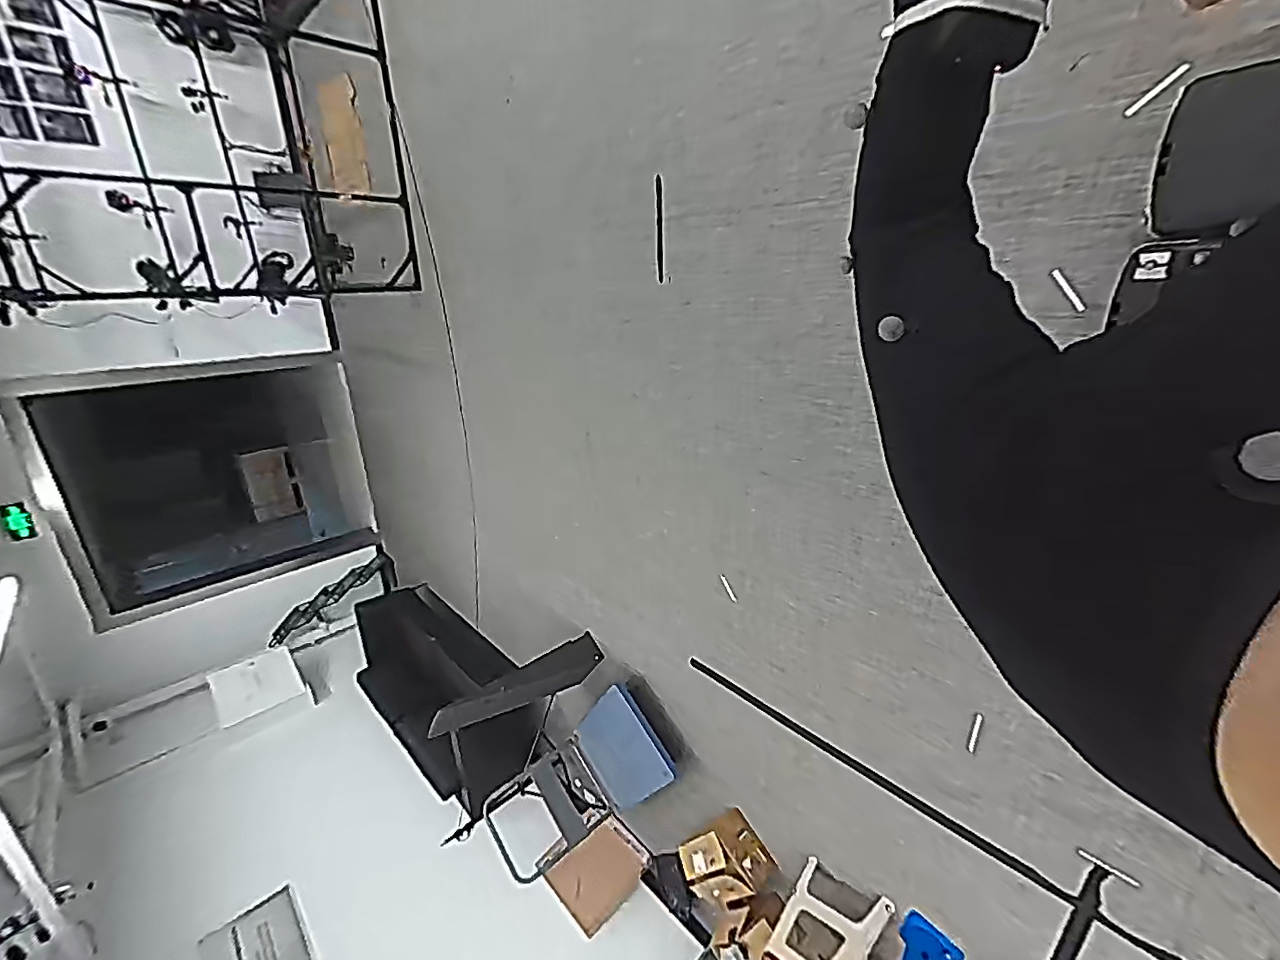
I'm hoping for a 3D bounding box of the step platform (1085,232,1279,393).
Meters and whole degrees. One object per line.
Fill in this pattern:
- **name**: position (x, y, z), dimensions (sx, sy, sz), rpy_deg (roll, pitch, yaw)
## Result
- **step platform**: position (1.248, -0.301, 0.973), dimensions (0.684, 0.204, 0.286), rpy_deg (18, 117, 46)
